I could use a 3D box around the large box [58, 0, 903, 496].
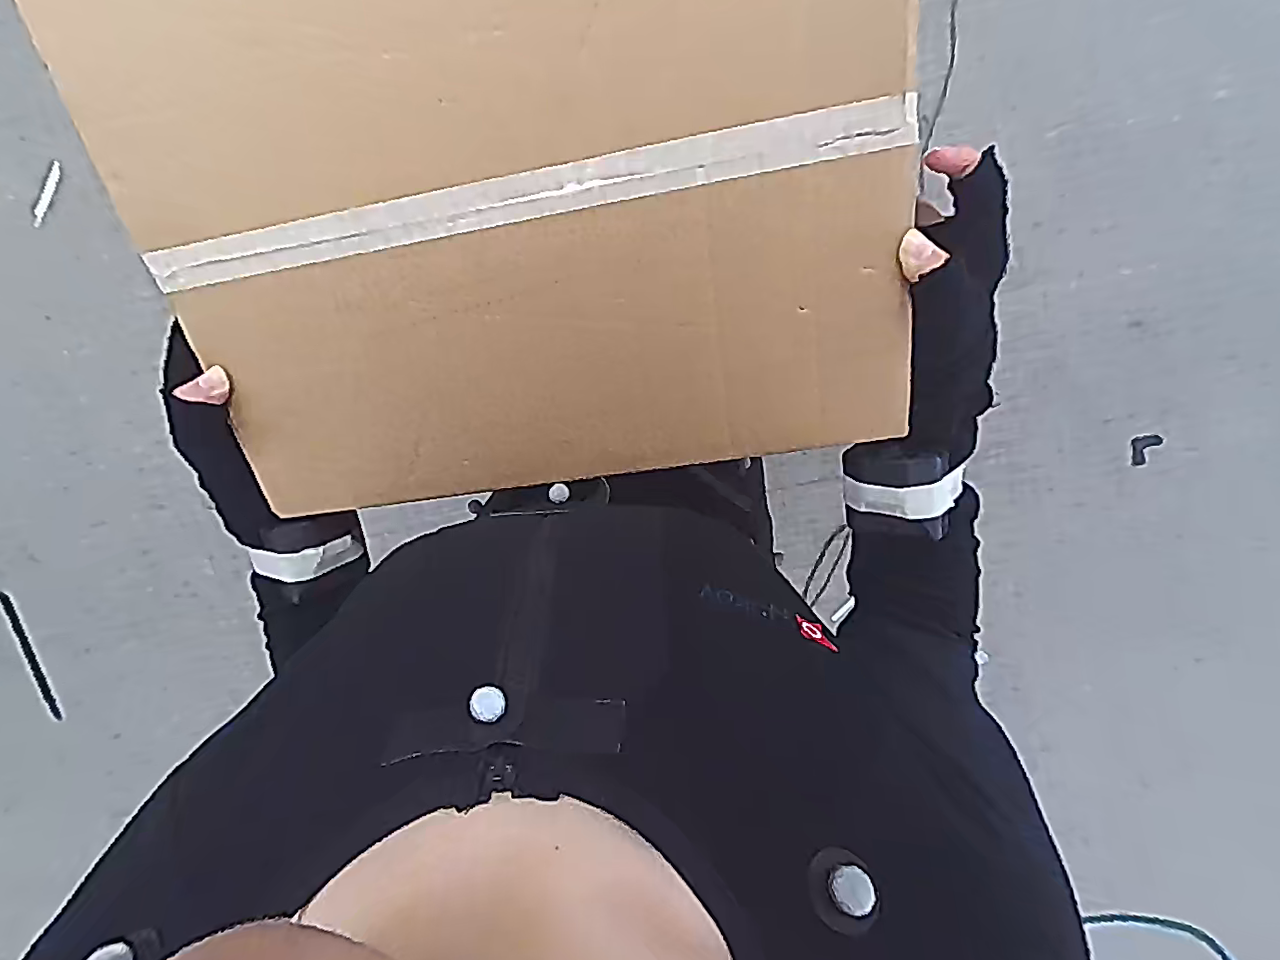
[{"bbox_3d":[-0.061,-0.213,0.420,0.408,0.320,0.320,-8,114,7],"label":"large box"}]
